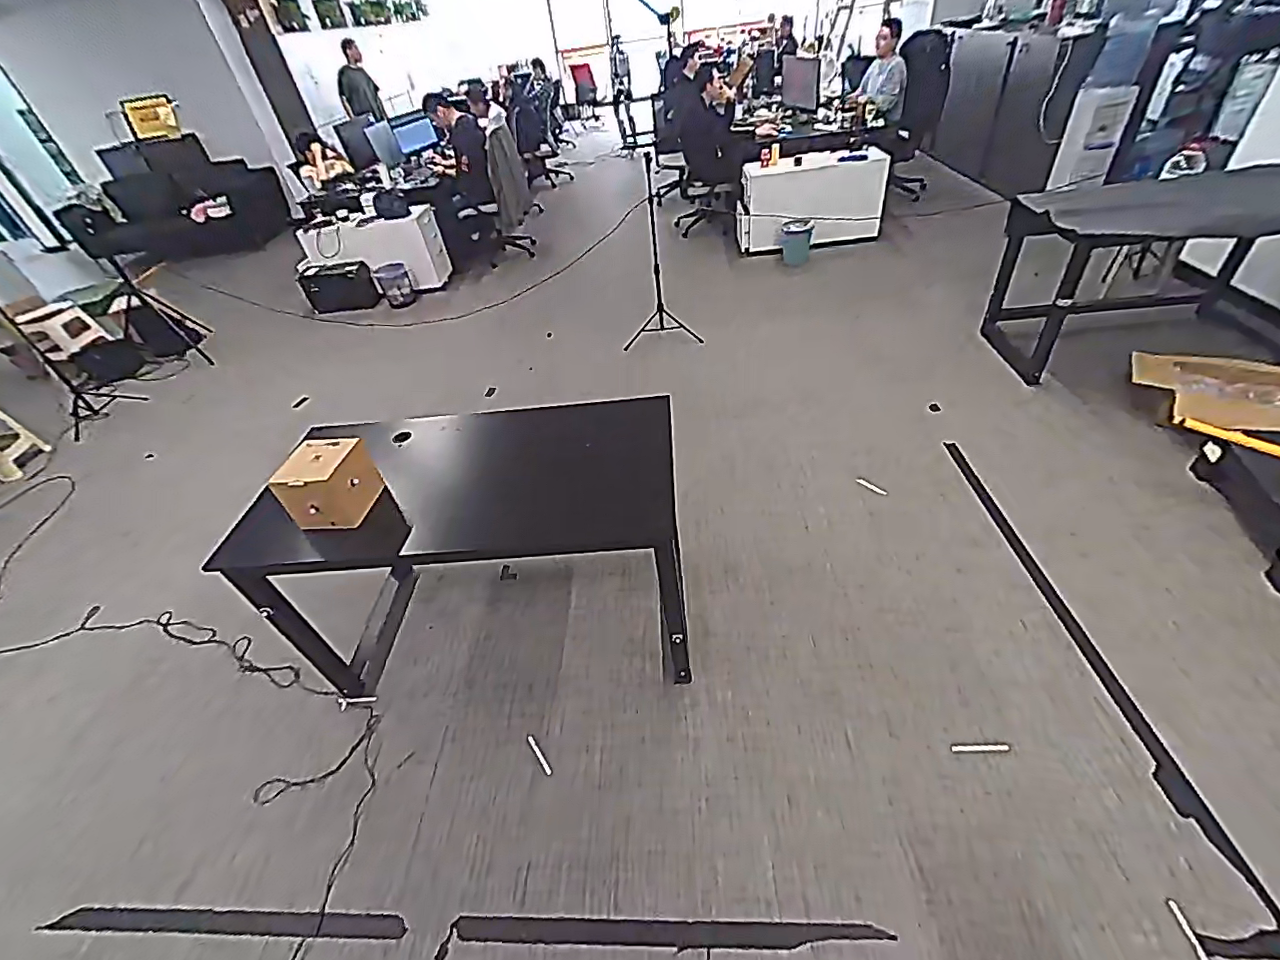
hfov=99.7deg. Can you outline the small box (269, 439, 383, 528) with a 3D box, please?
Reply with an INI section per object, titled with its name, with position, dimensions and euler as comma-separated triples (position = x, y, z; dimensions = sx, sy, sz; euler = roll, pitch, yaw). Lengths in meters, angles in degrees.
[small box]
position = -0.816, 0.013, 1.428
dimensions = 0.168, 0.176, 0.179
euler = -2, 42, 8
